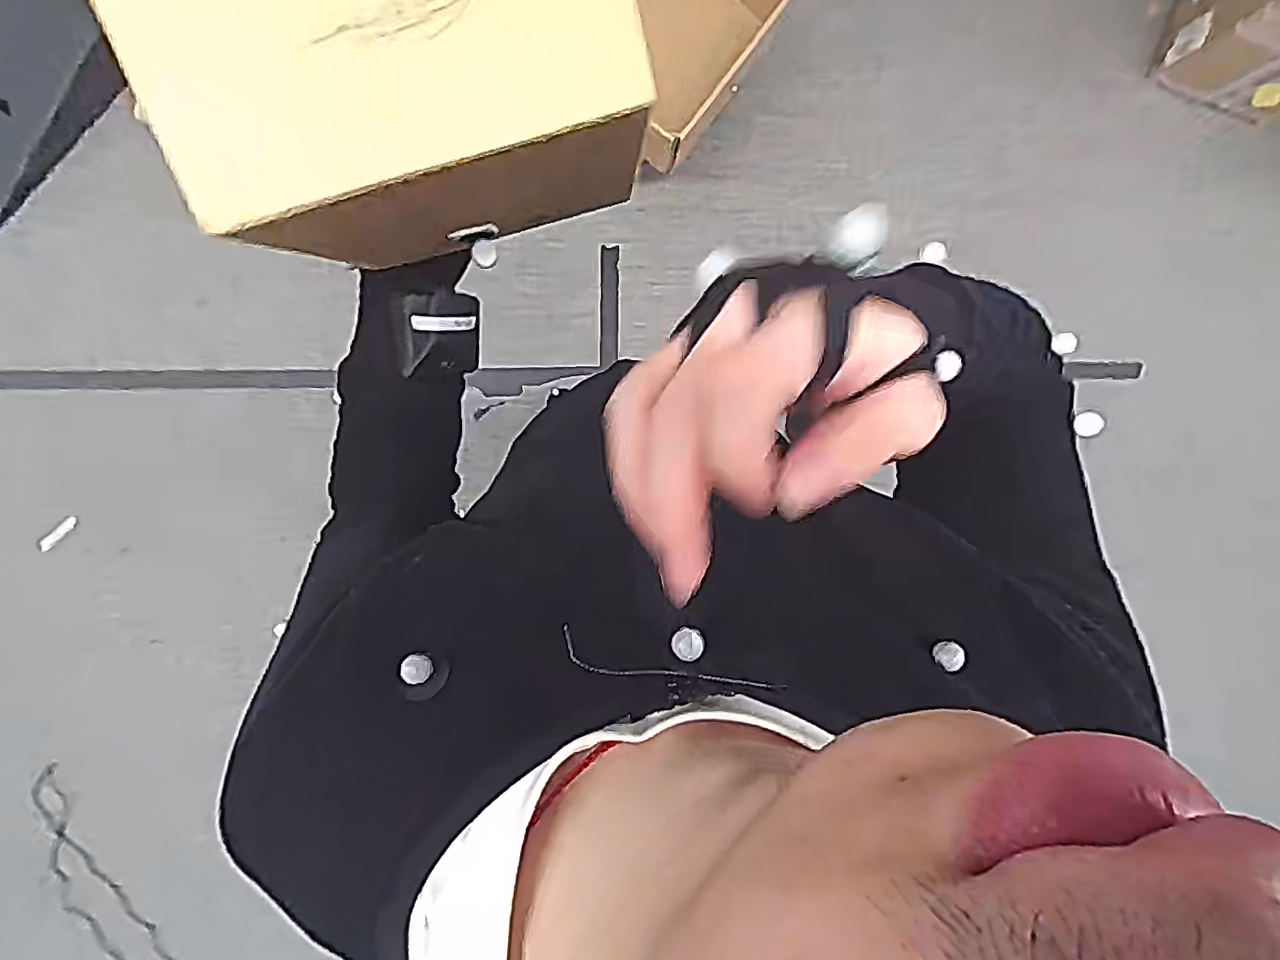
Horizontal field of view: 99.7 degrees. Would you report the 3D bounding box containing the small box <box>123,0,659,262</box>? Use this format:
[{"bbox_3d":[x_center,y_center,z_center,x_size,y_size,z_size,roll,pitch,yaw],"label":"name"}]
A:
[{"bbox_3d":[-0.098,-0.216,0.246,0.168,0.176,0.179,-16,108,1],"label":"small box"}]
